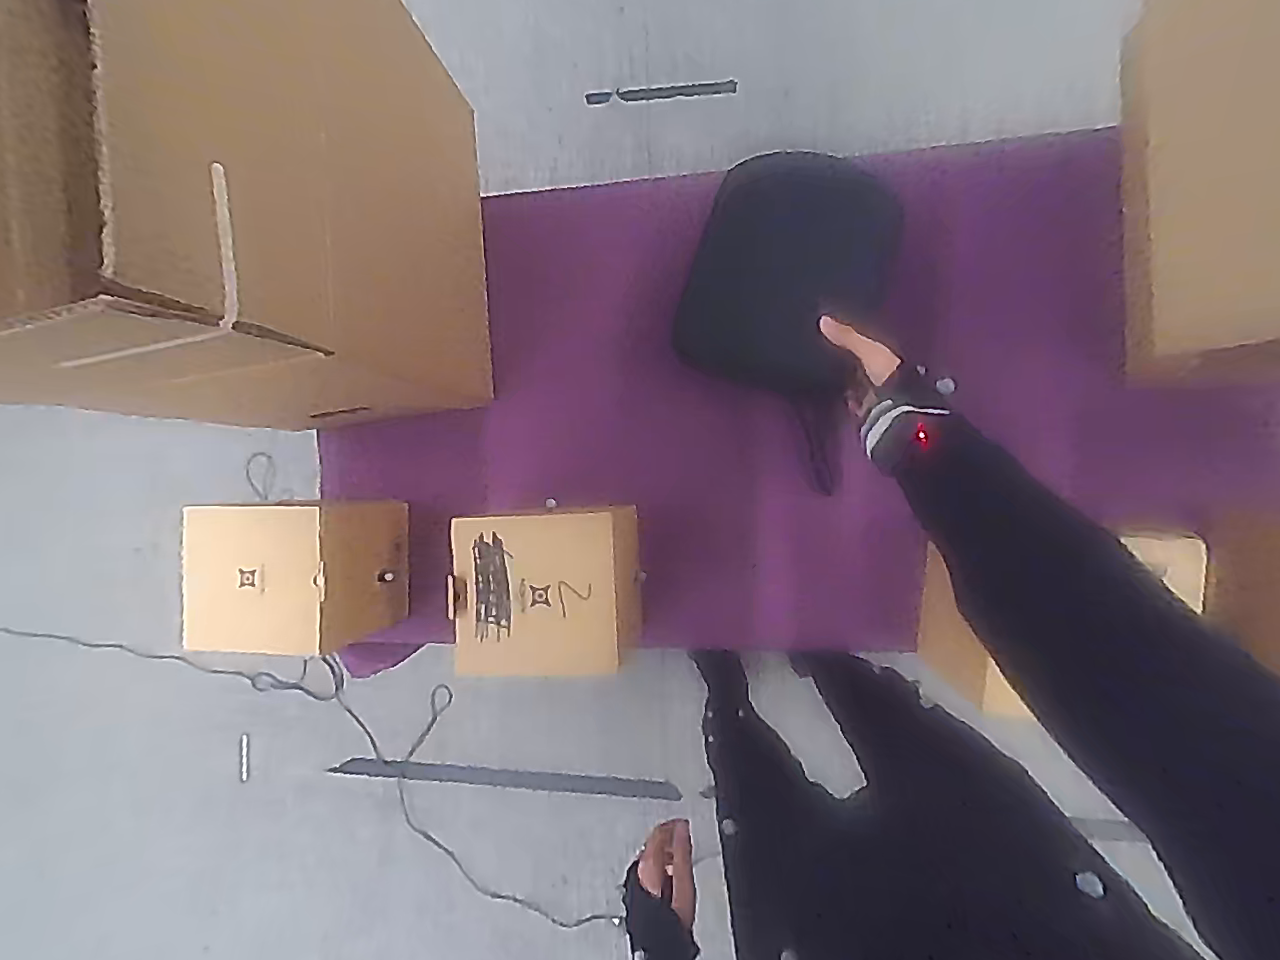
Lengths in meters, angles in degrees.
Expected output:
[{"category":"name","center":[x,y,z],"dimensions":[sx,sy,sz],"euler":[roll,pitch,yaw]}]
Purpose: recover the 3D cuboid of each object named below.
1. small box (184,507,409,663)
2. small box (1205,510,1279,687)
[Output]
[{"category":"small box","center":[-0.420,0.121,0.681],"dimensions":[0.179,0.176,0.168],"euler":[-1,89,8]},{"category":"small box","center":[0.693,0.122,0.504],"dimensions":[0.168,0.176,0.179],"euler":[5,90,10]}]
